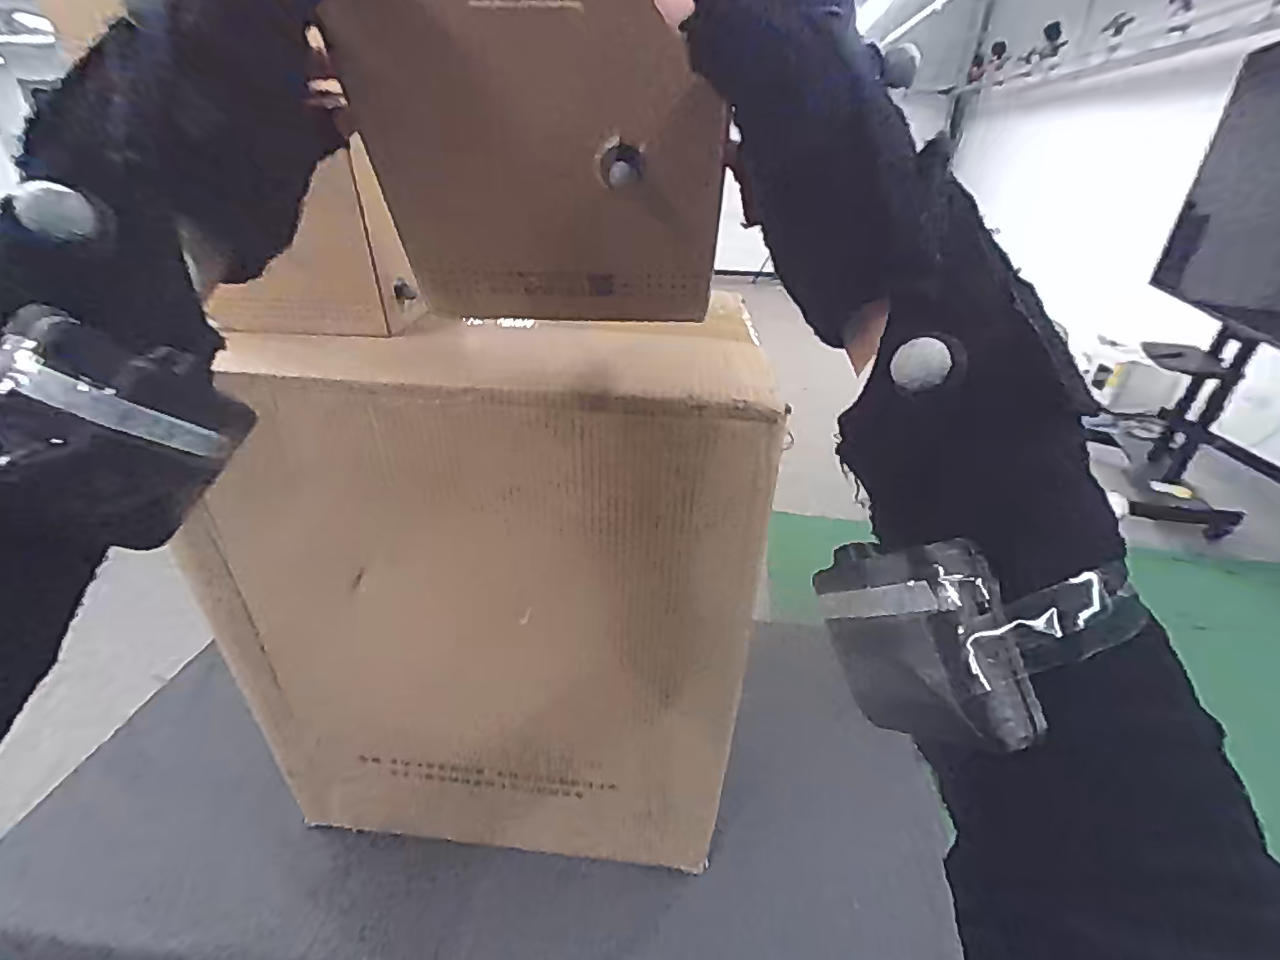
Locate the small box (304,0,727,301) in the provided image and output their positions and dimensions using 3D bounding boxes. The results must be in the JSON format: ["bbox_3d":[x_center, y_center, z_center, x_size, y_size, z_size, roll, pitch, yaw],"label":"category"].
[{"bbox_3d":[-0.045,-0.217,0.303,0.168,0.176,0.179,-2,56,0],"label":"small box"}]

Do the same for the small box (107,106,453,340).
[{"bbox_3d":[-0.288,-0.231,0.487,0.179,0.176,0.168,1,32,3],"label":"small box"}]
